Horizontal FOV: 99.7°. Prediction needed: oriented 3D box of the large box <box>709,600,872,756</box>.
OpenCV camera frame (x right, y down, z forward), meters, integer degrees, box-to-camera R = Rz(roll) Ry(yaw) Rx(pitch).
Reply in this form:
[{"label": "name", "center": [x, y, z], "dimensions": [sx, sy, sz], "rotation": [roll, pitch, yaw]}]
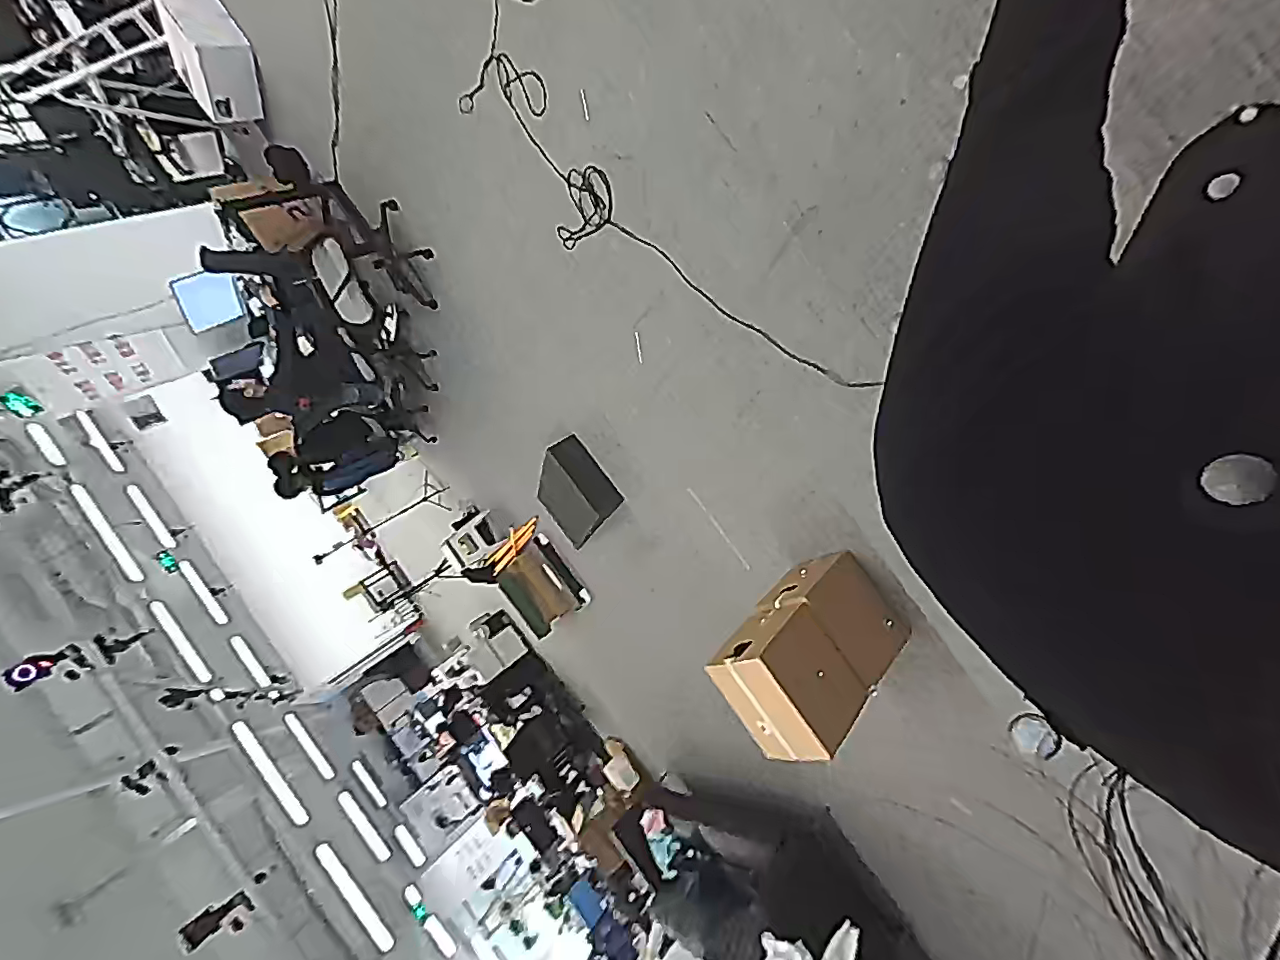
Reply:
[{"label": "large box", "center": [0.530, 0.699, 1.921], "dimensions": [0.408, 0.320, 0.320], "rotation": [53, 144, 2]}]
